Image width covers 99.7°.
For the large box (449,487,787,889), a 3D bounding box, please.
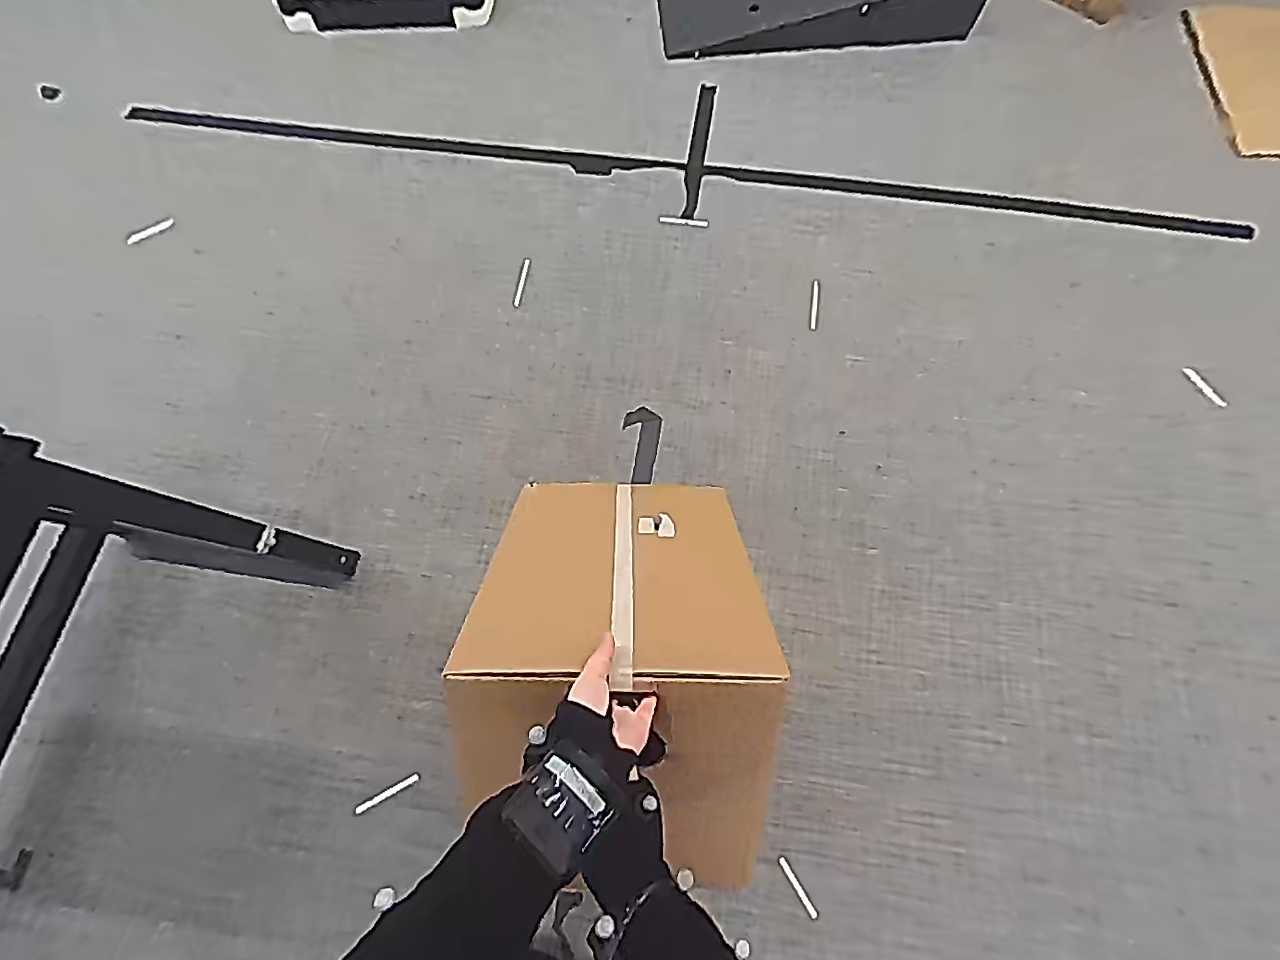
[{"bbox_3d":[-0.028,0.234,0.714,0.320,0.408,0.320,2,113,-2],"label":"large box"}]
